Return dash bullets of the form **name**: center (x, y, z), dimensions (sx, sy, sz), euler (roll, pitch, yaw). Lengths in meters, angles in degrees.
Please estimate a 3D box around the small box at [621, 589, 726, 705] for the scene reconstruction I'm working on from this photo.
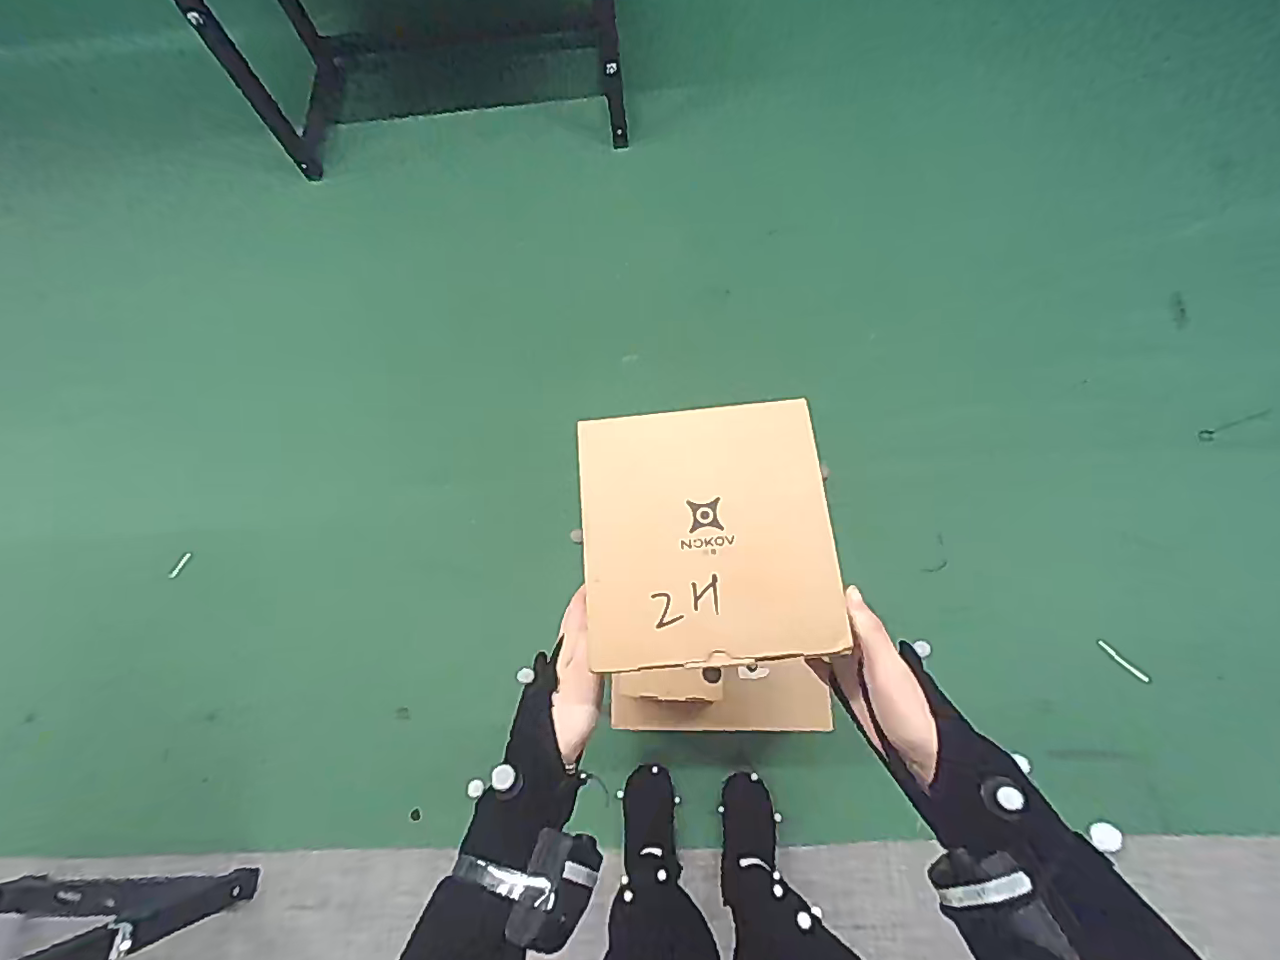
- **small box**: center (0.060, 0.292, 0.940), dimensions (0.168, 0.176, 0.179), euler (0, 70, 4)

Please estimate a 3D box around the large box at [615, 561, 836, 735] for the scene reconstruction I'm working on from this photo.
- **large box**: center (0.160, 0.366, 1.165), dimensions (0.408, 0.320, 0.320), euler (-2, 69, 4)
